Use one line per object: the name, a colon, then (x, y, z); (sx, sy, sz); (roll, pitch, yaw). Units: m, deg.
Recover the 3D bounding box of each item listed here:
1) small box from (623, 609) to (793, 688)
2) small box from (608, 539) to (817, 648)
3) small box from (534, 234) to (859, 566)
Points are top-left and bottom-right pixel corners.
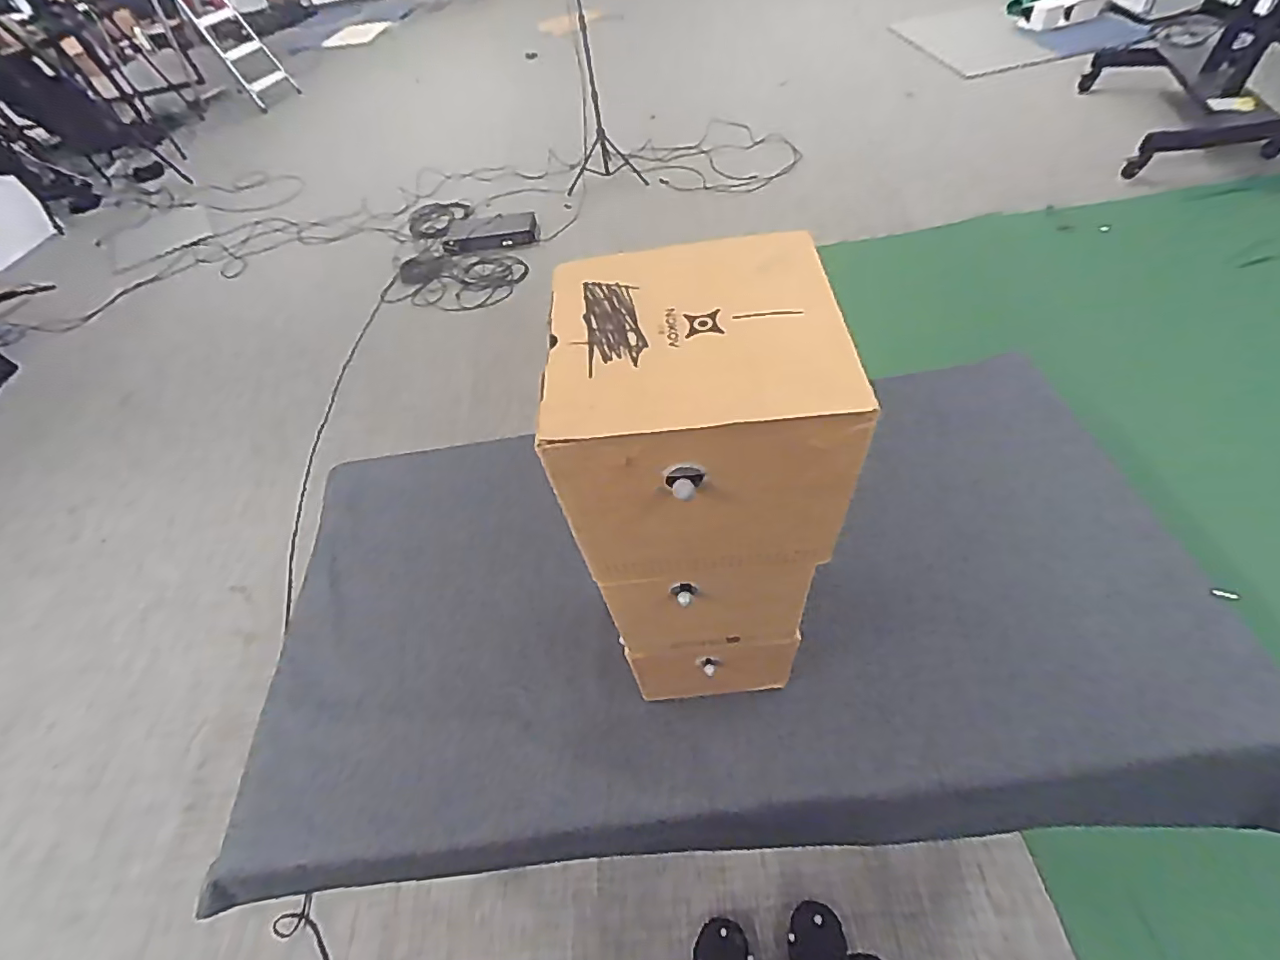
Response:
small box: (0.076, 0.143, 0.659); (0.179, 0.176, 0.168); (-7, 54, 3)
small box: (0.057, 0.046, 0.532); (0.168, 0.176, 0.179); (-8, 54, 2)
small box: (0.037, -0.048, 0.394); (0.179, 0.176, 0.168); (-5, 54, 5)
